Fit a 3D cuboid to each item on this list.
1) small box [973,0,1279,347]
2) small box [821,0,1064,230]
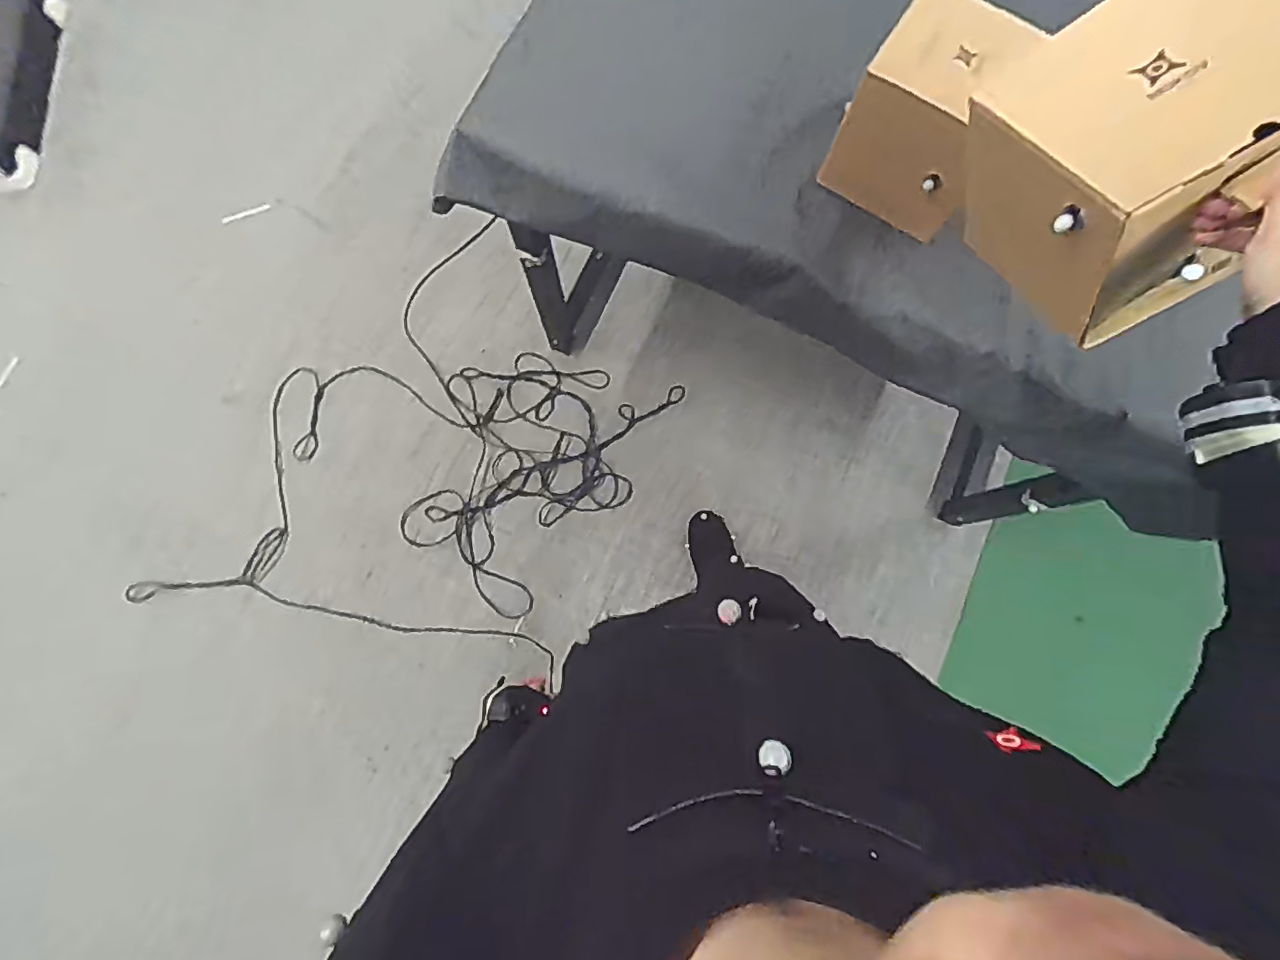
[{"bbox_3d":[0.396,-0.244,0.435,0.168,0.176,0.179,-31,59,17],"label":"small box"},{"bbox_3d":[0.362,-0.451,0.678,0.179,0.176,0.168,32,79,6],"label":"small box"}]
